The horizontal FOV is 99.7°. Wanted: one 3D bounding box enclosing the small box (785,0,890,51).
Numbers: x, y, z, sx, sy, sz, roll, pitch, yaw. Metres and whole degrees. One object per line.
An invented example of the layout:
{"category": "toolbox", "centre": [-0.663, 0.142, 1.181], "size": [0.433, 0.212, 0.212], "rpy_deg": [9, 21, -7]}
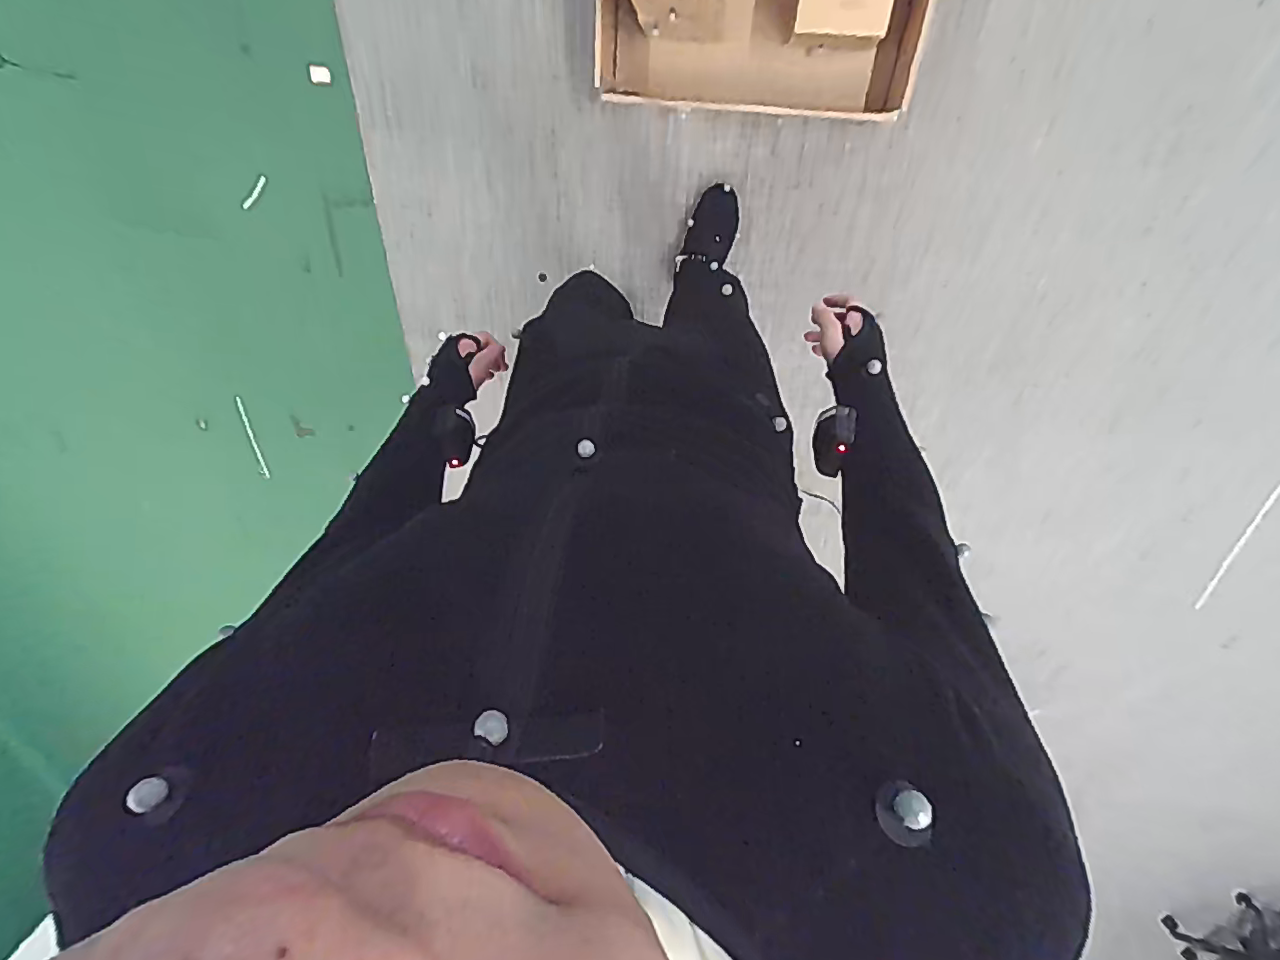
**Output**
{"category": "small box", "centre": [0.371, -0.925, 1.001], "size": [0.168, 0.176, 0.179], "rpy_deg": [8, 121, 5]}

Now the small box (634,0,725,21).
{"category": "small box", "centre": [0.069, -0.884, 0.877], "size": [0.168, 0.176, 0.179], "rpy_deg": [7, 120, 3]}
